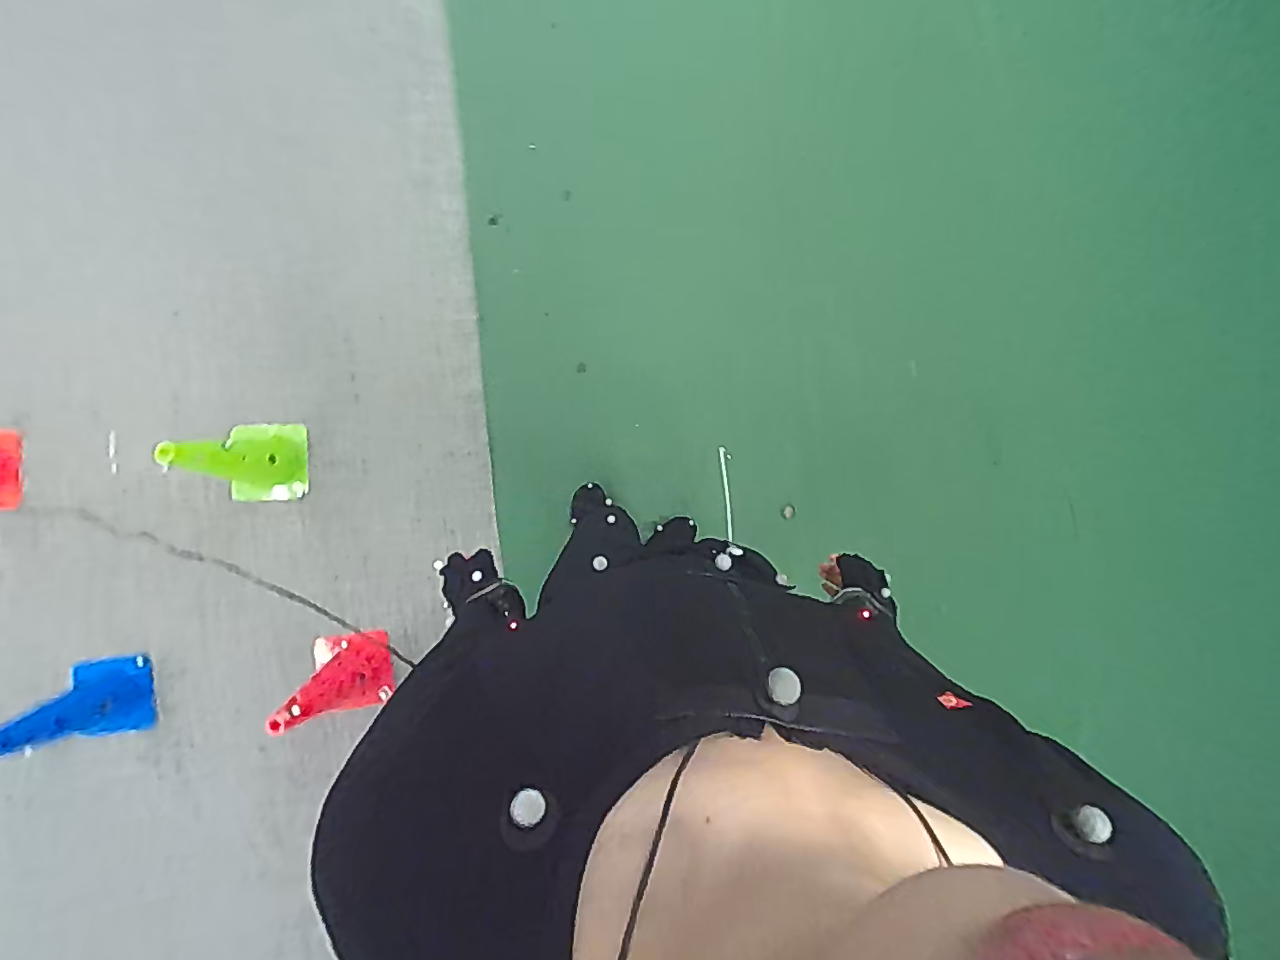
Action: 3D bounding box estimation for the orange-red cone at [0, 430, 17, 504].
[{"bbox_3d":[-1.721,-0.035,1.242,0.199,0.360,0.198,-1,90,-5],"label":"orange-red cone"}]

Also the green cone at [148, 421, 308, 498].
[{"bbox_3d":[-0.991,-0.061,1.285,0.202,0.368,0.200,-3,88,-3],"label":"green cone"}]
